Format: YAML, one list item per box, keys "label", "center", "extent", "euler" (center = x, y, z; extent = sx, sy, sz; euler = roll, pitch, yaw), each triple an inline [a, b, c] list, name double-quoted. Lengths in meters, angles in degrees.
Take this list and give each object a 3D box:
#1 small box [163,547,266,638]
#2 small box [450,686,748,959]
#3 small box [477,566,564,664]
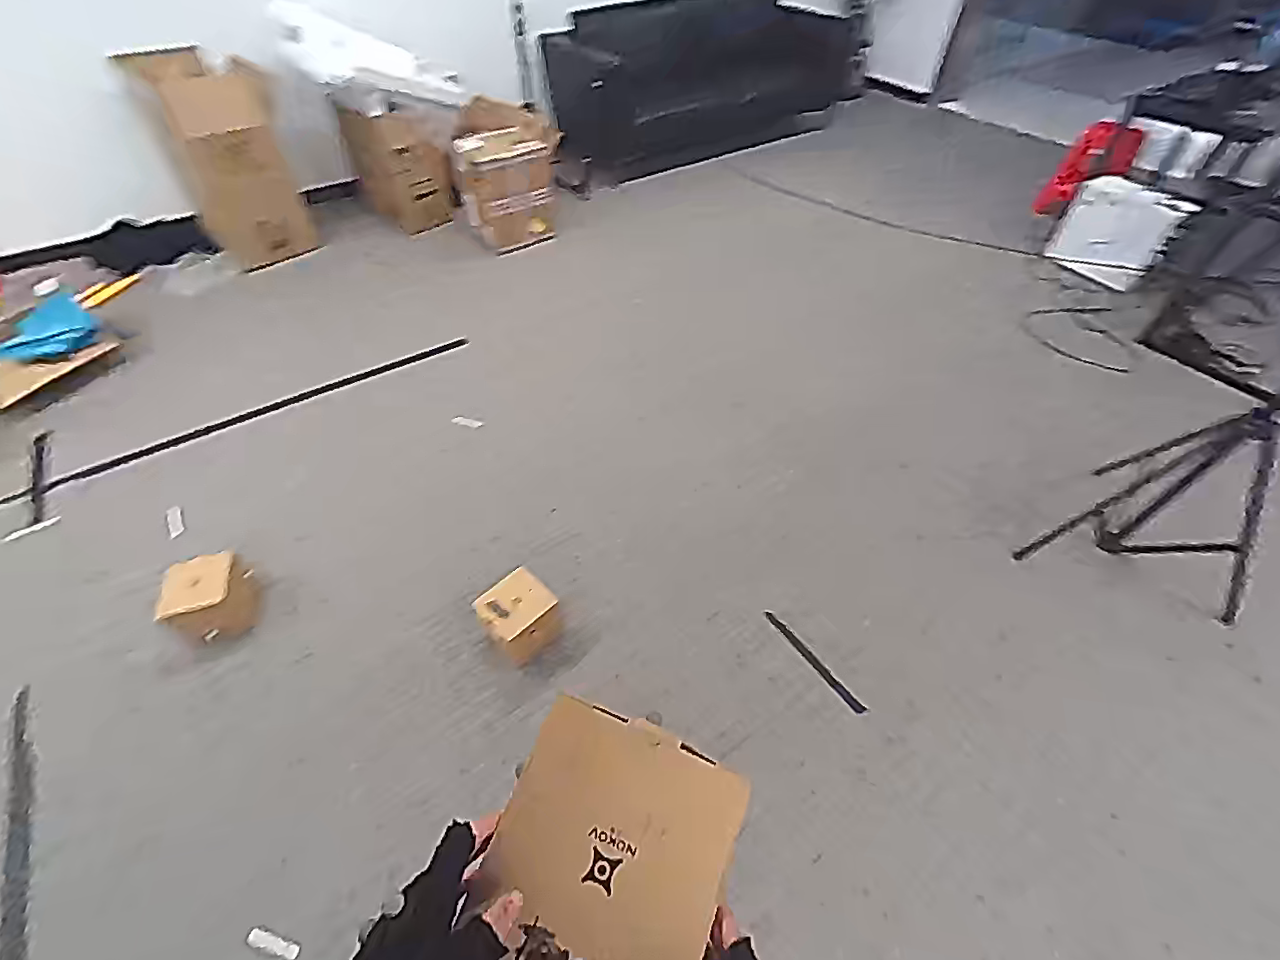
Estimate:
- label: "small box"
  center: [-1.221, 0.328, 1.568]
  extent: [0.168, 0.176, 0.179]
  euler: [-15, 52, -12]
- label: "small box"
  center: [-0.028, 0.296, 0.460]
  extent: [0.168, 0.176, 0.179]
  euler: [22, 67, 7]
- label: "small box"
  center: [-0.332, 0.387, 1.539]
  extent: [0.168, 0.176, 0.179]
  euler: [36, 57, 27]
